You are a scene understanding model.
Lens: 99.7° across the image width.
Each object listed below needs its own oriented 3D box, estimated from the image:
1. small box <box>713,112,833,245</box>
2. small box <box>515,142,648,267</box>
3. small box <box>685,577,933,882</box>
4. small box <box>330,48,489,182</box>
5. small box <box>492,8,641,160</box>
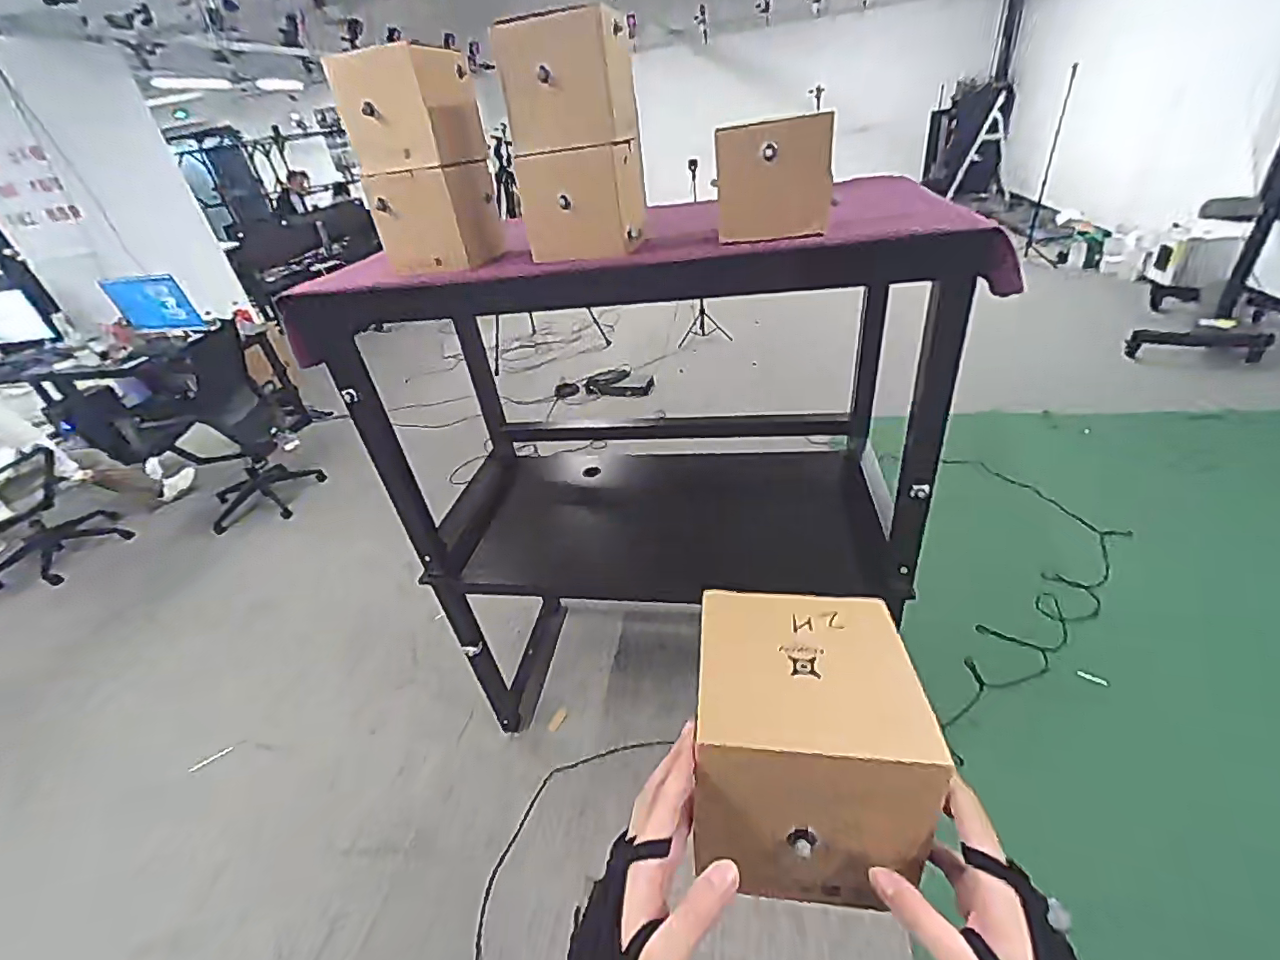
[{"bbox_3d":[0.227,-0.500,0.902,0.179,0.176,0.168,2,35,17],"label":"small box"},{"bbox_3d":[-0.092,-0.491,0.966,0.179,0.176,0.168,1,34,17],"label":"small box"},{"bbox_3d":[0.130,0.206,0.470,0.168,0.176,0.179,1,25,9],"label":"small box"},{"bbox_3d":[-0.390,-0.634,0.954,0.168,0.176,0.179,2,33,16],"label":"small box"},{"bbox_3d":[-0.107,-0.630,0.880,0.179,0.176,0.168,0,34,15],"label":"small box"}]
